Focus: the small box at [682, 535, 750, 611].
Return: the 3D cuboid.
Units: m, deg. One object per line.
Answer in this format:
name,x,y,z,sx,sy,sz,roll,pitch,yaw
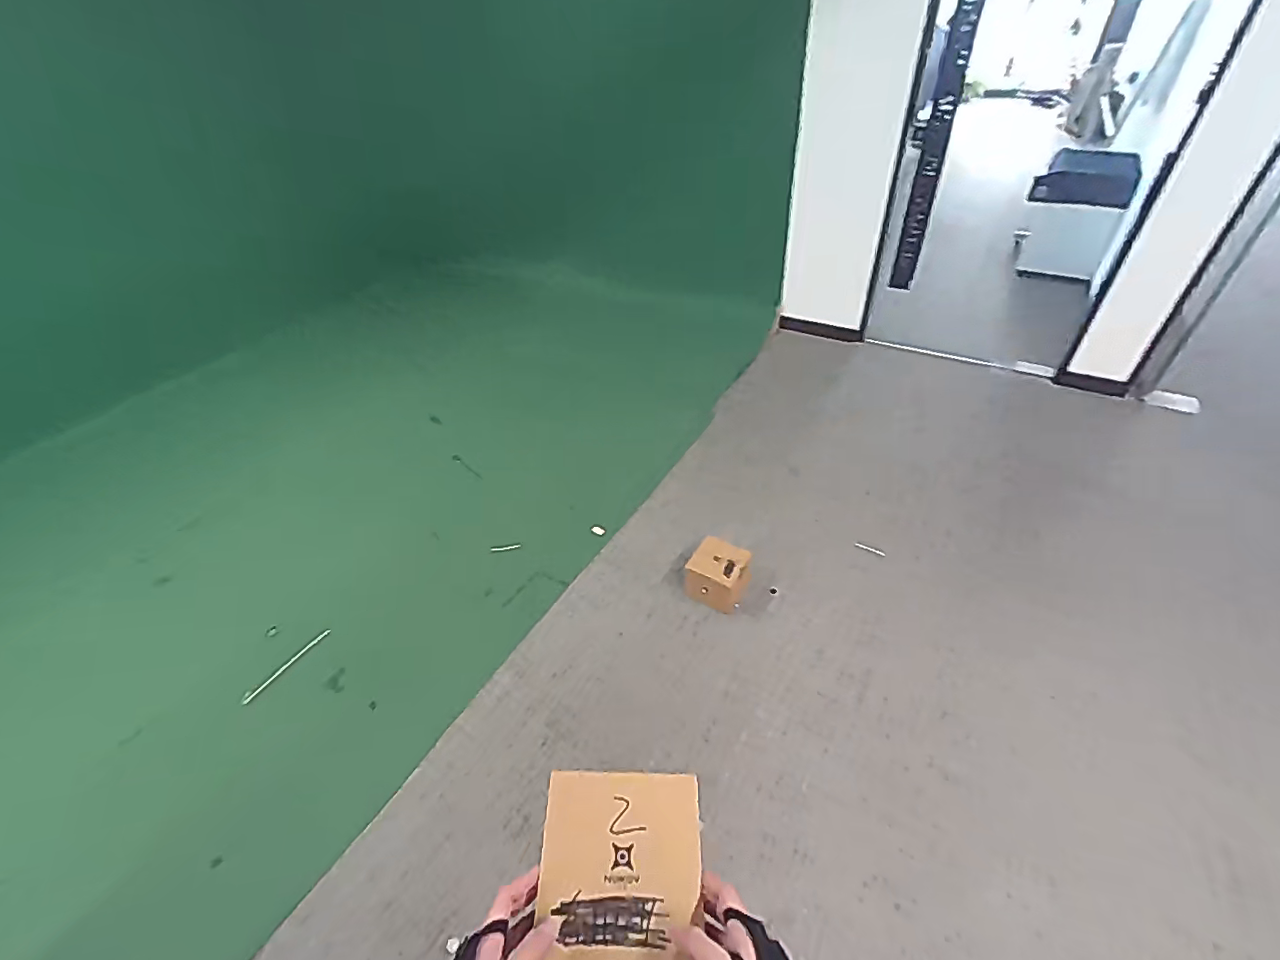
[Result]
small box,0.263,0.327,1.867,0.179,0.176,0.168,21,49,27
